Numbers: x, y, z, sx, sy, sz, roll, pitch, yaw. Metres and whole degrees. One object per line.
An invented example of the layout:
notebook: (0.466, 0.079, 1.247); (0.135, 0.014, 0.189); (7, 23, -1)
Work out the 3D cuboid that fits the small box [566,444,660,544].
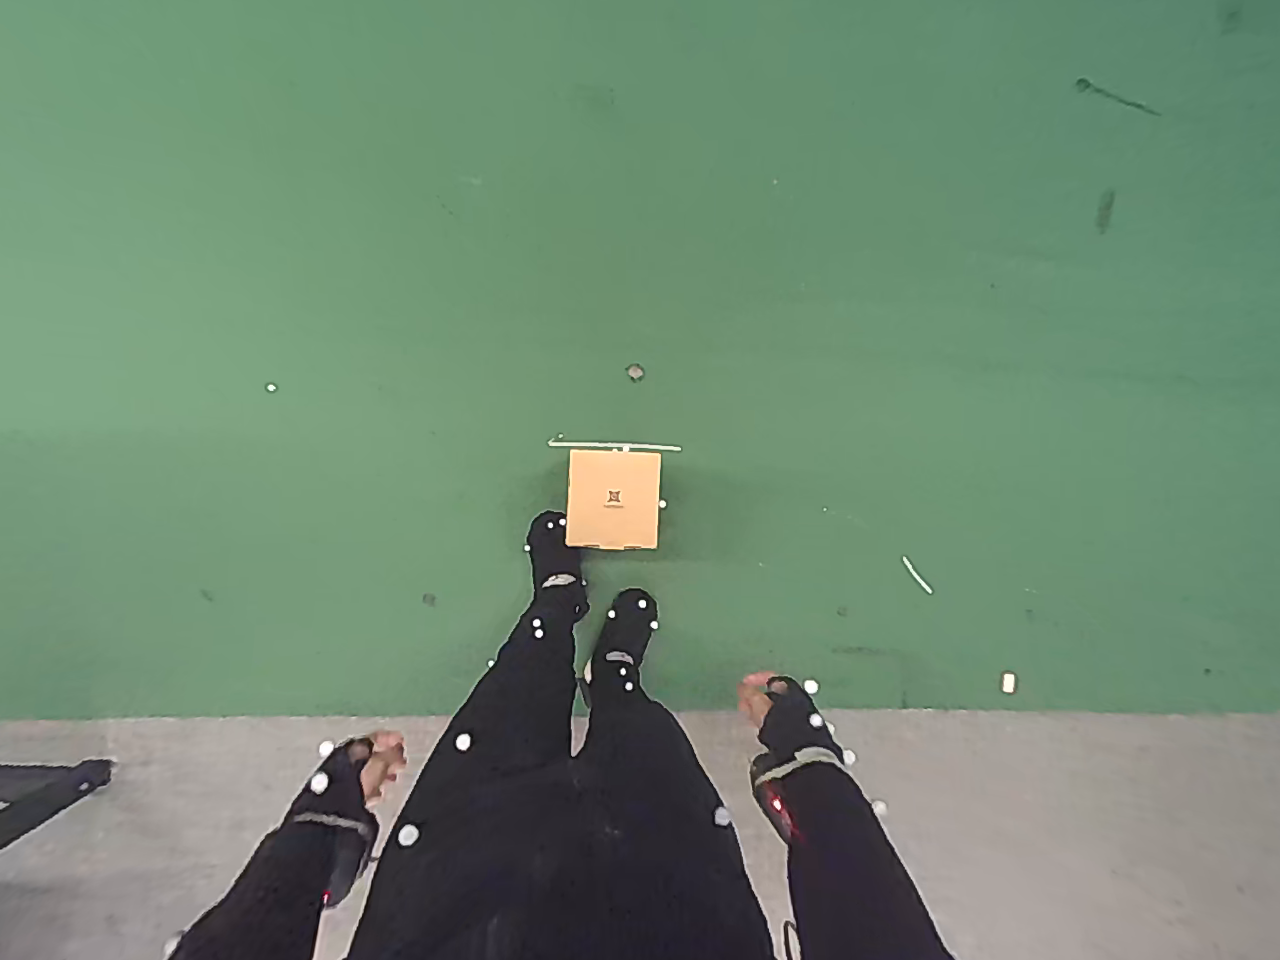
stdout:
small box: (-0.055, 0.025, 1.048); (0.168, 0.176, 0.179); (2, 91, -4)
